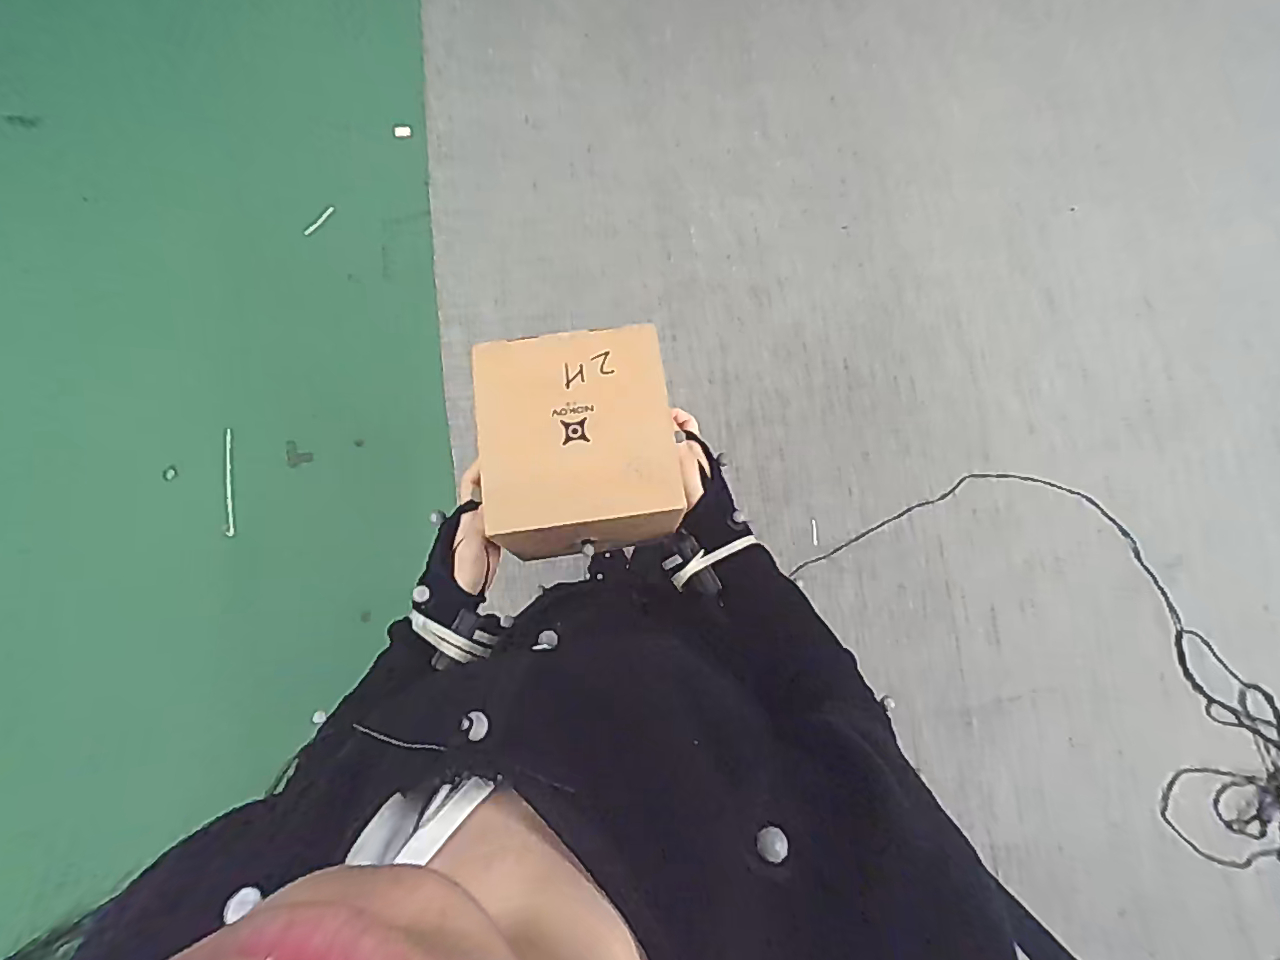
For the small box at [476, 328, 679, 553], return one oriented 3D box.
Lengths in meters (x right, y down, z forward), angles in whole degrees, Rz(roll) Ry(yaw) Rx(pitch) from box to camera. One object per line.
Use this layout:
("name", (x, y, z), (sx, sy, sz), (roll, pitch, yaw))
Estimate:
("small box", (-0.058, -0.026, 0.541), (0.168, 0.176, 0.179), (-6, 74, -4))
